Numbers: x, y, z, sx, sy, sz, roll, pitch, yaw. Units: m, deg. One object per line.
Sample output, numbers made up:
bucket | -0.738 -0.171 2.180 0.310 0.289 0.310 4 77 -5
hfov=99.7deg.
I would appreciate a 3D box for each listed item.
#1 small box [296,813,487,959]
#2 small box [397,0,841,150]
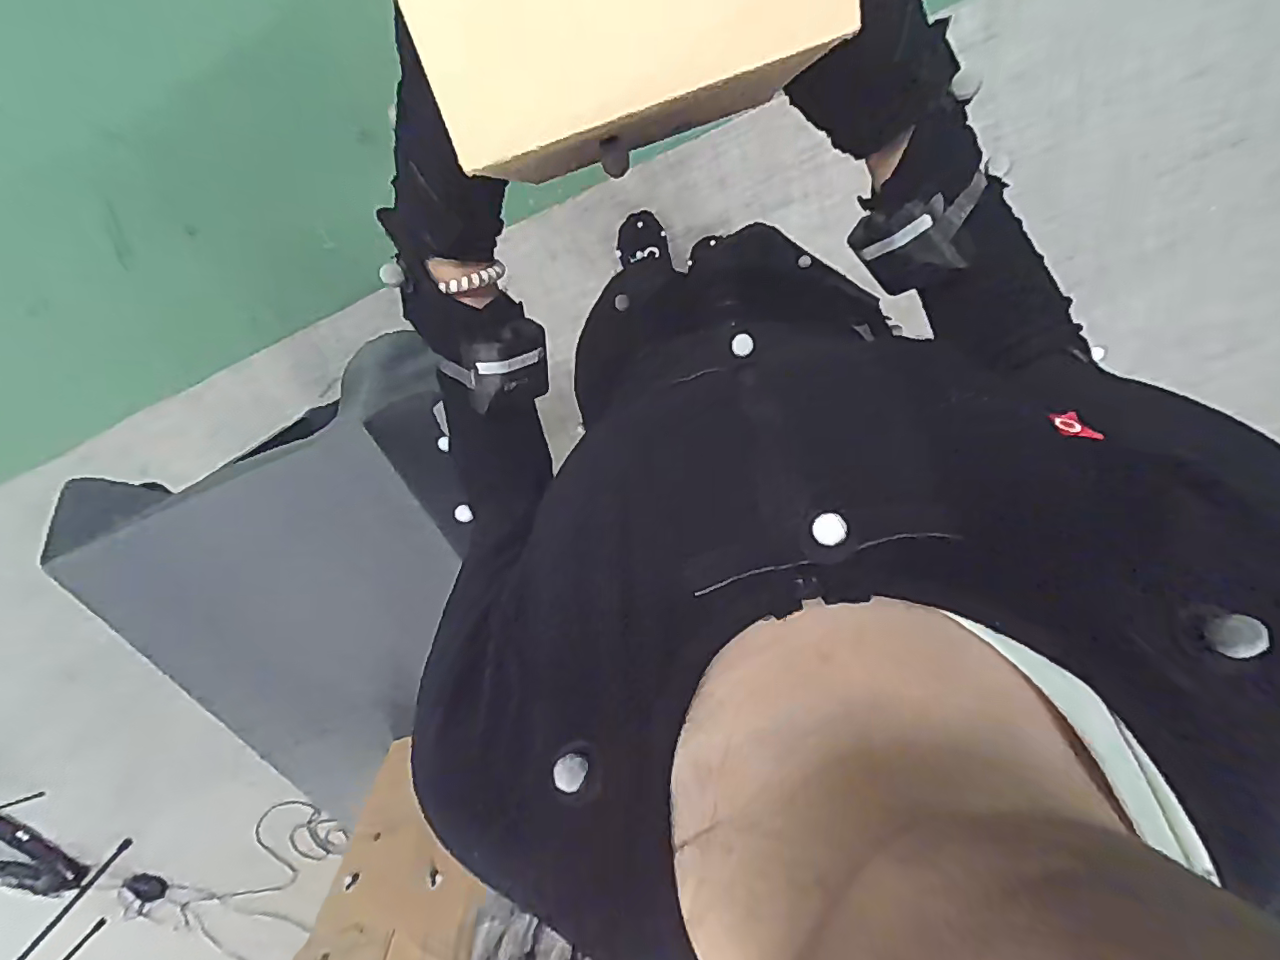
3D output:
small box | -0.364 0.642 0.830 0.168 0.176 0.179 -22 115 11
small box | -0.021 -0.269 0.245 0.168 0.176 0.179 -14 116 8
